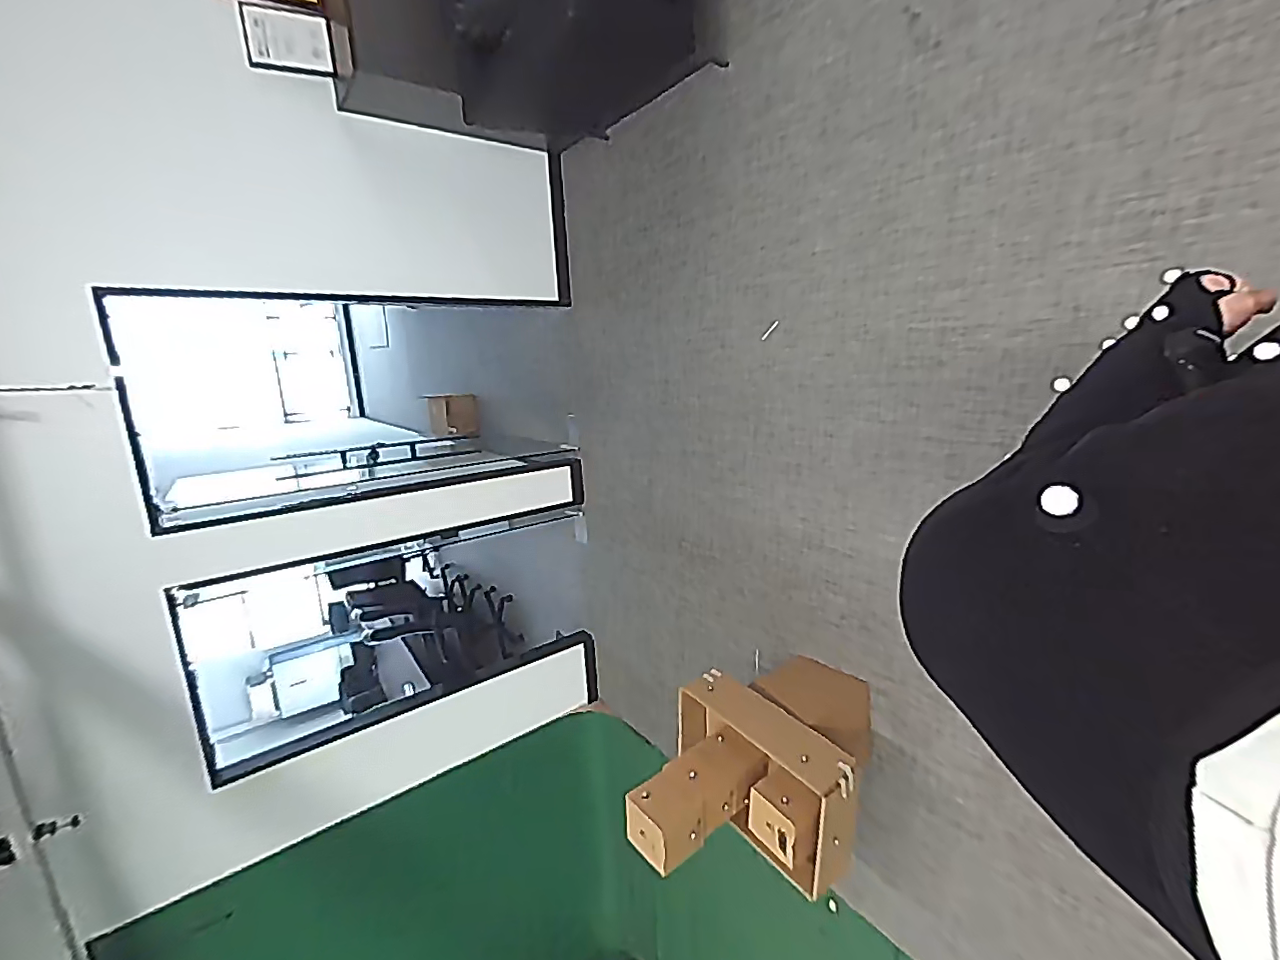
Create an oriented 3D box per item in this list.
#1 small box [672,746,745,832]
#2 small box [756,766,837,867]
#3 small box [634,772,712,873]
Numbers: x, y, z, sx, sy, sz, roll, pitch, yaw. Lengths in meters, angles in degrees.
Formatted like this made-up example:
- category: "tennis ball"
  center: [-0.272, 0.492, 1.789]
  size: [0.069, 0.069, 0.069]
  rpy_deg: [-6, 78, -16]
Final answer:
- category: "small box"
  center: [0.221, 1.006, 1.770]
  size: [0.179, 0.176, 0.168]
  rpy_deg: [17, 113, 49]
- category: "small box"
  center: [0.486, 1.032, 1.679]
  size: [0.179, 0.176, 0.168]
  rpy_deg: [21, 116, 52]
- category: "small box"
  center: [0.100, 1.036, 1.661]
  size: [0.179, 0.176, 0.168]
  rpy_deg: [15, 111, 49]
